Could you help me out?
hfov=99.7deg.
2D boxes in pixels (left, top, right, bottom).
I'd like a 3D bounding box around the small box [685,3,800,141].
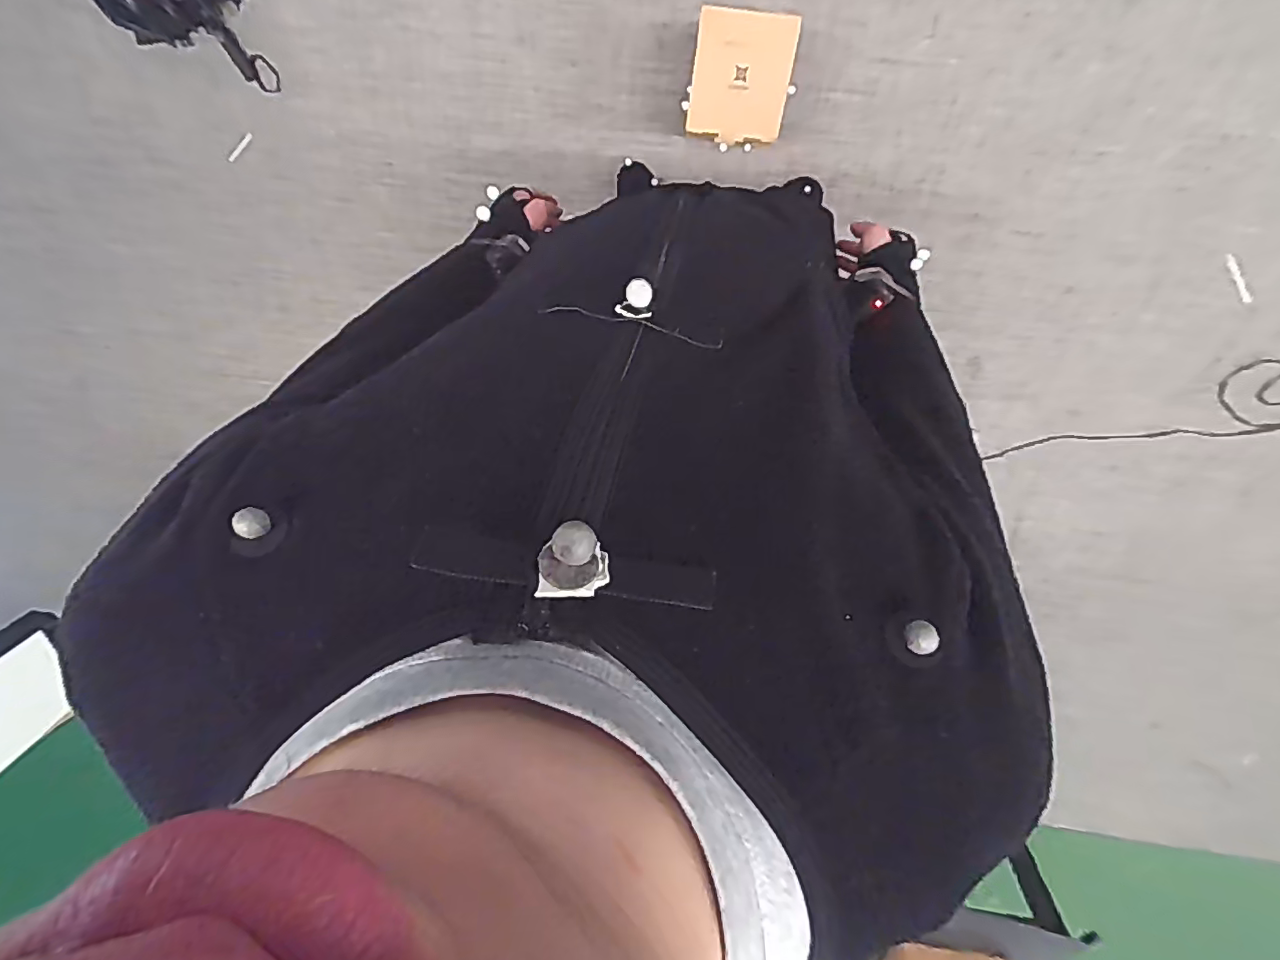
[{"bbox_3d":[0.178,-0.728,0.984,0.168,0.176,0.179,8,121,2],"label":"small box"}]
